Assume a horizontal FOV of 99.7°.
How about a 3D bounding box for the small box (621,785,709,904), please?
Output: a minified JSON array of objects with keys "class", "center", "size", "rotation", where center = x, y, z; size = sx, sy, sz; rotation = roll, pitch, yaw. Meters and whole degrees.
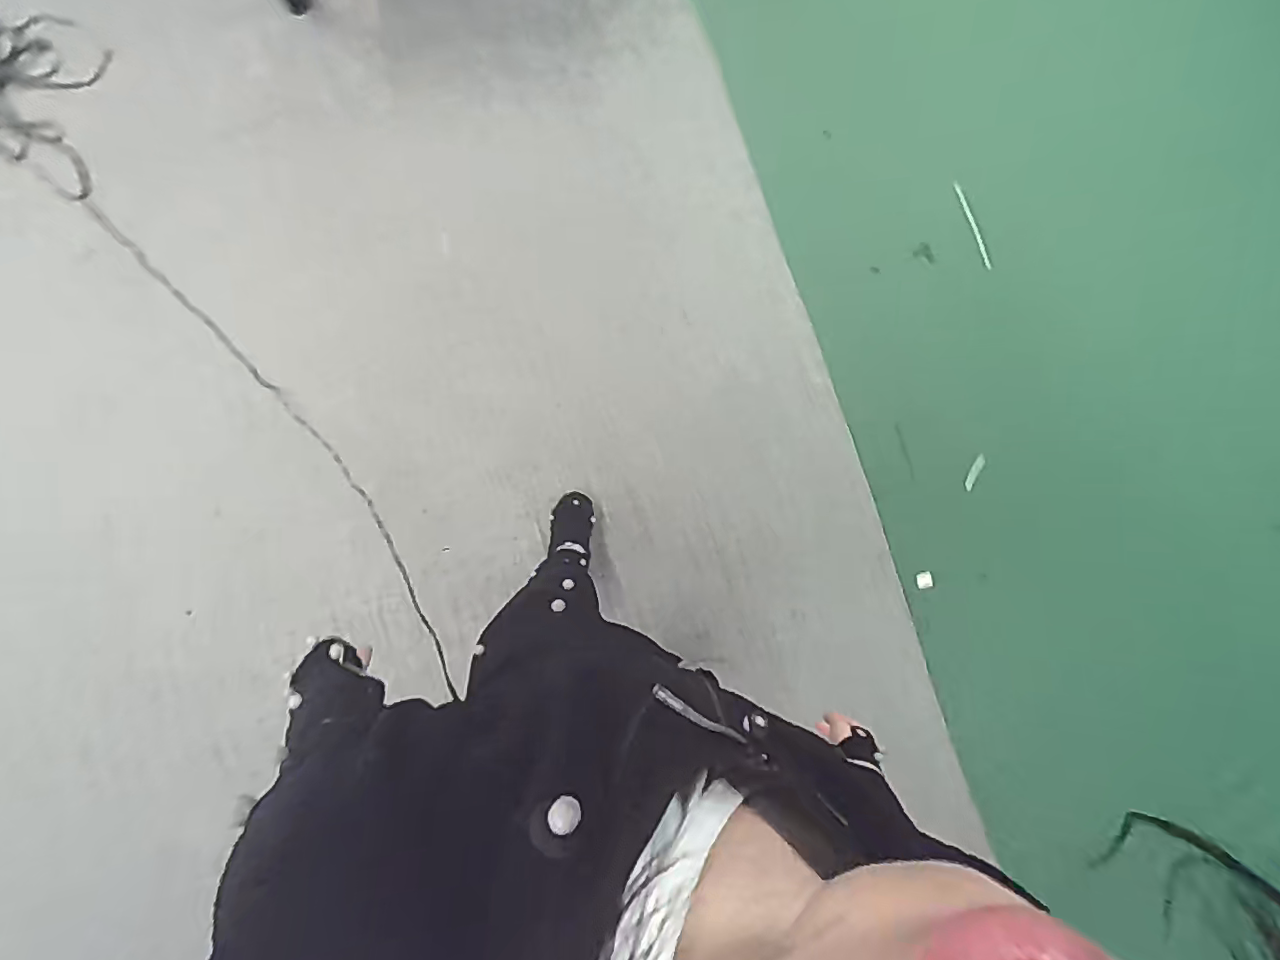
[{"class":"small box","center":[0.053,0.881,1.331],"size":[0.168,0.176,0.179],"rotation":[-15,82,-7]}]
